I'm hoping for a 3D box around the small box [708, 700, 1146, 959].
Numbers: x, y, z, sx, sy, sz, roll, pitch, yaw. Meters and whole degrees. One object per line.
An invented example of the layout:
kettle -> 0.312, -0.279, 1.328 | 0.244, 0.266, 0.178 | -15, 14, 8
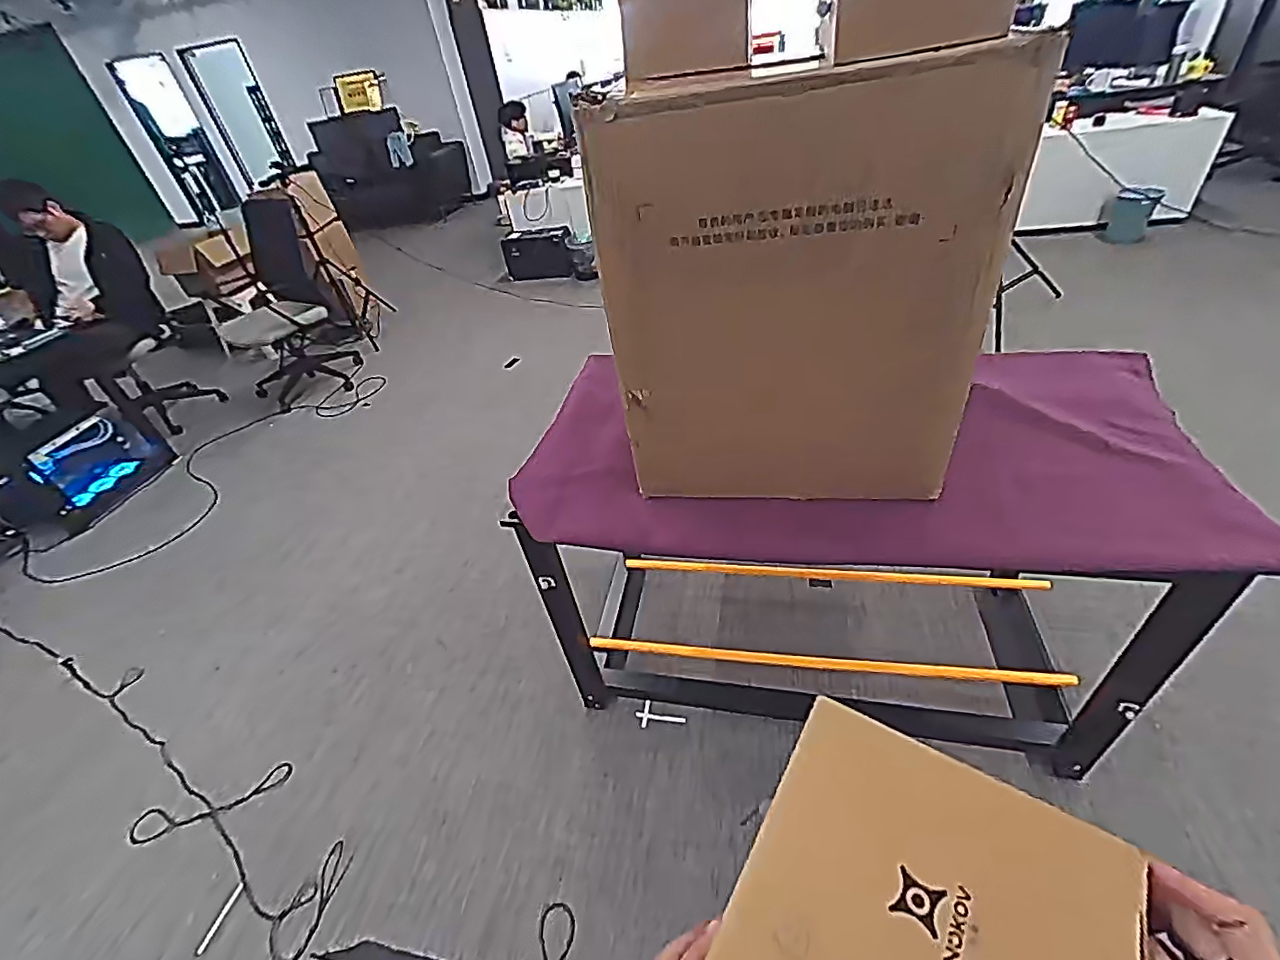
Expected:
small box -> 0.159, 0.280, 0.330 | 0.179, 0.176, 0.168 | 19, 49, 29
